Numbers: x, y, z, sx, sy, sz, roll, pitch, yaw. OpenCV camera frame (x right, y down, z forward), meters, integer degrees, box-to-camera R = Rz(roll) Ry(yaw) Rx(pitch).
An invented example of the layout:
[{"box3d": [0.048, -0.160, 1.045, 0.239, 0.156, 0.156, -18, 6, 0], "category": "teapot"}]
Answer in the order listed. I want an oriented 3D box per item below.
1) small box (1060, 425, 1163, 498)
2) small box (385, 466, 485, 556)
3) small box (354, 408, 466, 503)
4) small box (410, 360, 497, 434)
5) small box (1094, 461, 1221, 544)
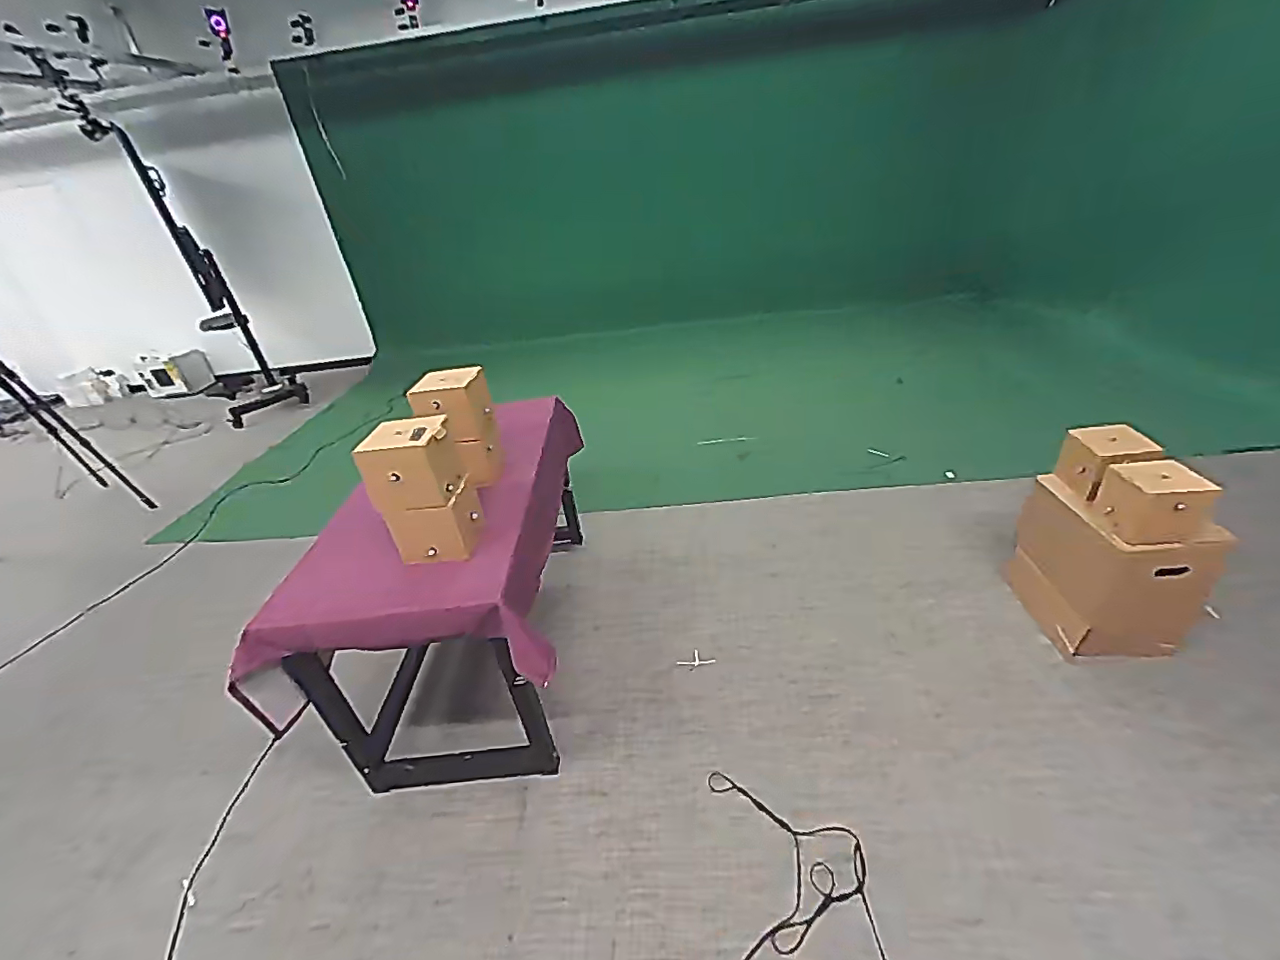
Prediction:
[{"box3d": [1.472, -0.055, 1.708, 0.179, 0.176, 0.168, -5, 34, 6], "category": "small box"}, {"box3d": [-0.520, 0.081, 1.404, 0.179, 0.176, 0.168, -5, 31, 4], "category": "small box"}, {"box3d": [-0.547, -0.059, 1.320, 0.179, 0.176, 0.168, -6, 31, 6], "category": "small box"}, {"box3d": [-0.550, -0.244, 1.617, 0.179, 0.176, 0.168, -4, 32, 7], "category": "small box"}, {"box3d": [1.441, 0.064, 1.522, 0.179, 0.176, 0.168, -4, 31, 6], "category": "small box"}]
